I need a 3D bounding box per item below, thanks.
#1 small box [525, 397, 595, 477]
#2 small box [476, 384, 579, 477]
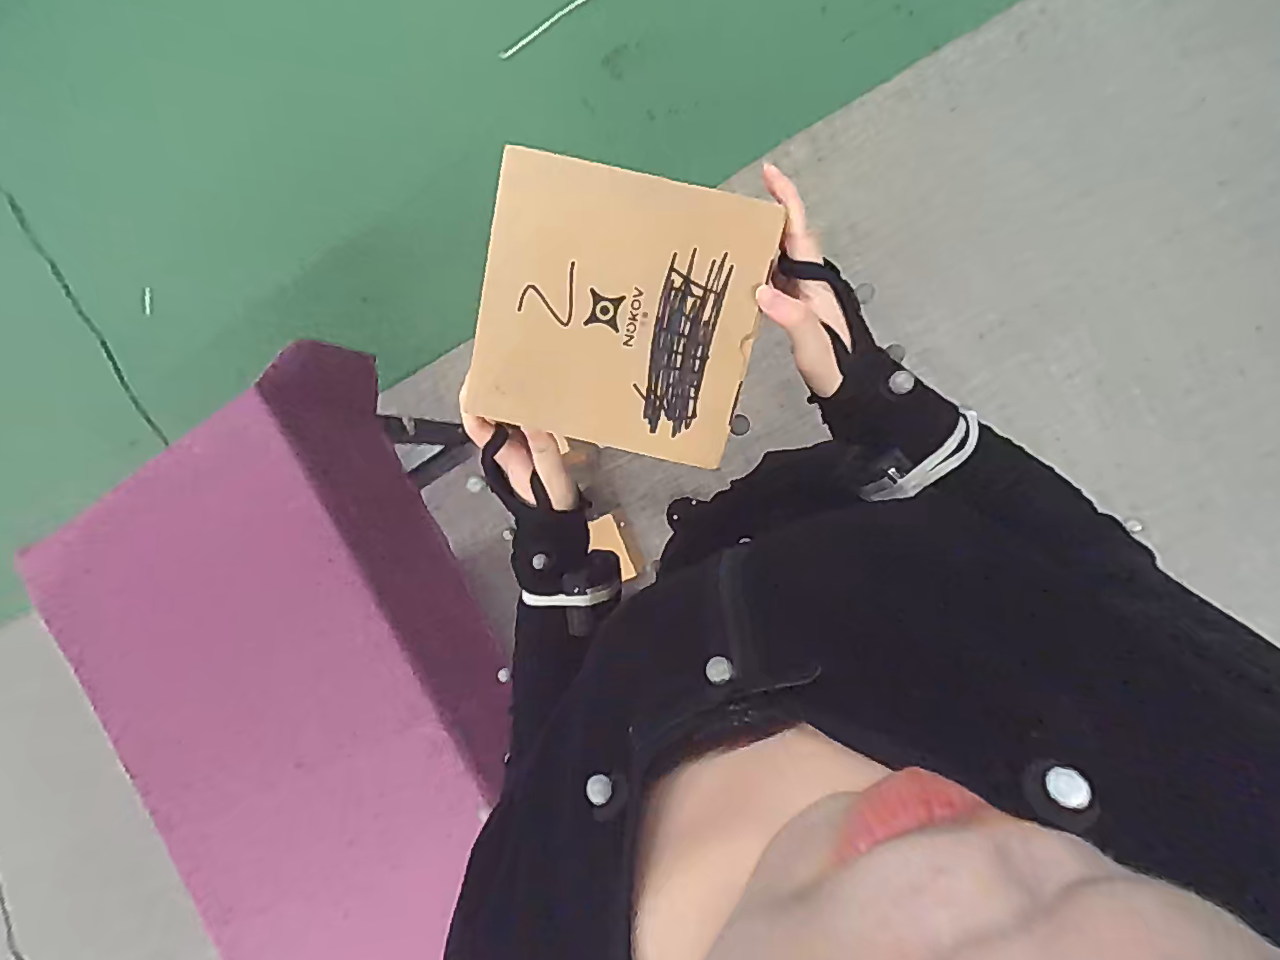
[{"bbox_3d":[-0.235,-0.115,1.477,0.179,0.176,0.168,-19,88,11],"label":"small box"},{"bbox_3d":[-0.260,-0.115,1.313,0.179,0.176,0.168,-23,87,8],"label":"small box"}]
